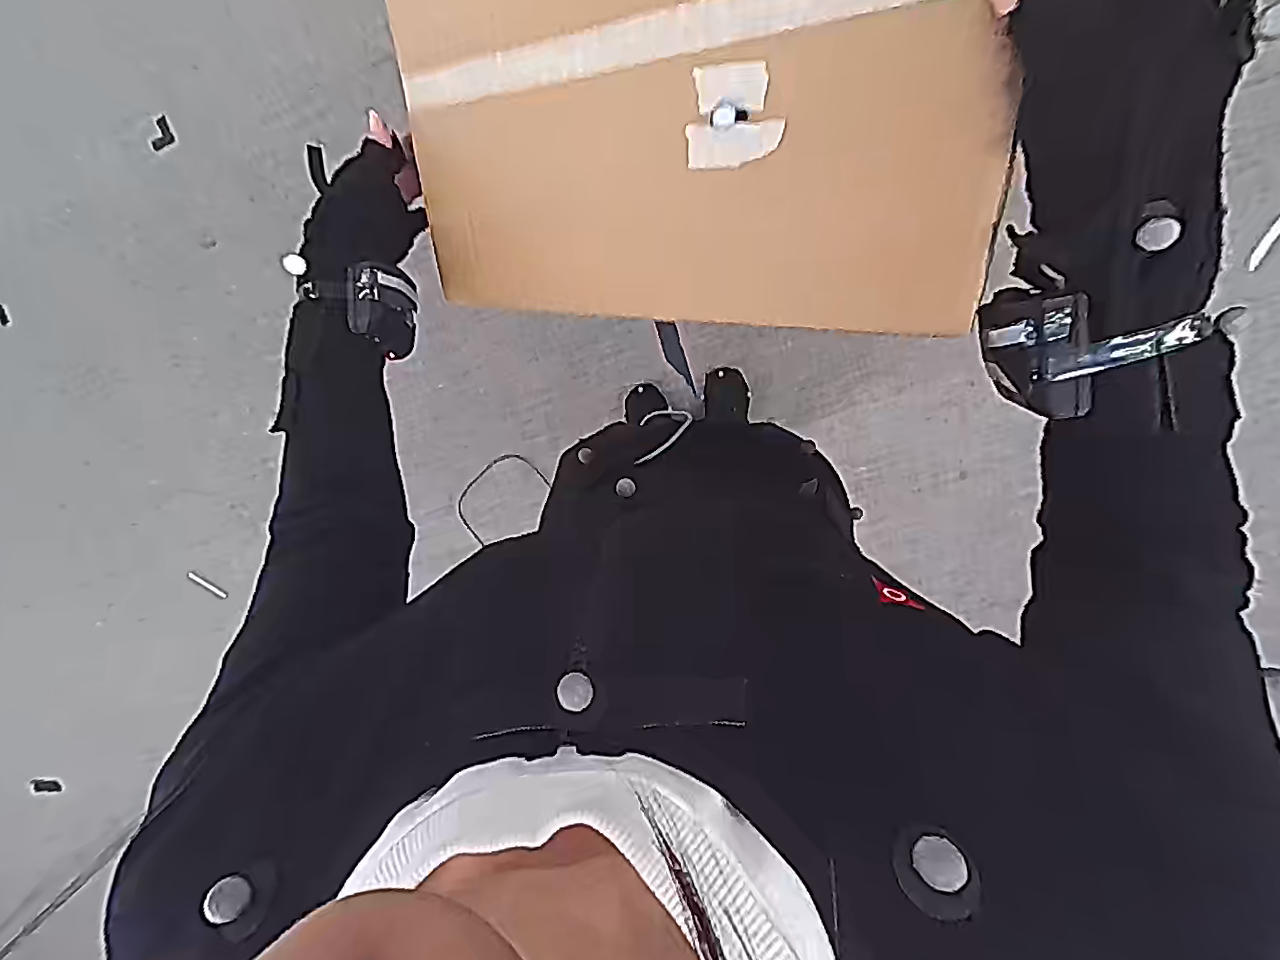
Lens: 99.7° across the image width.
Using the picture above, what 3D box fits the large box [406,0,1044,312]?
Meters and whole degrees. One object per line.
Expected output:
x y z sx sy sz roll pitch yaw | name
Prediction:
0.078 -0.321 0.441 0.408 0.320 0.320 11 120 29 | large box
